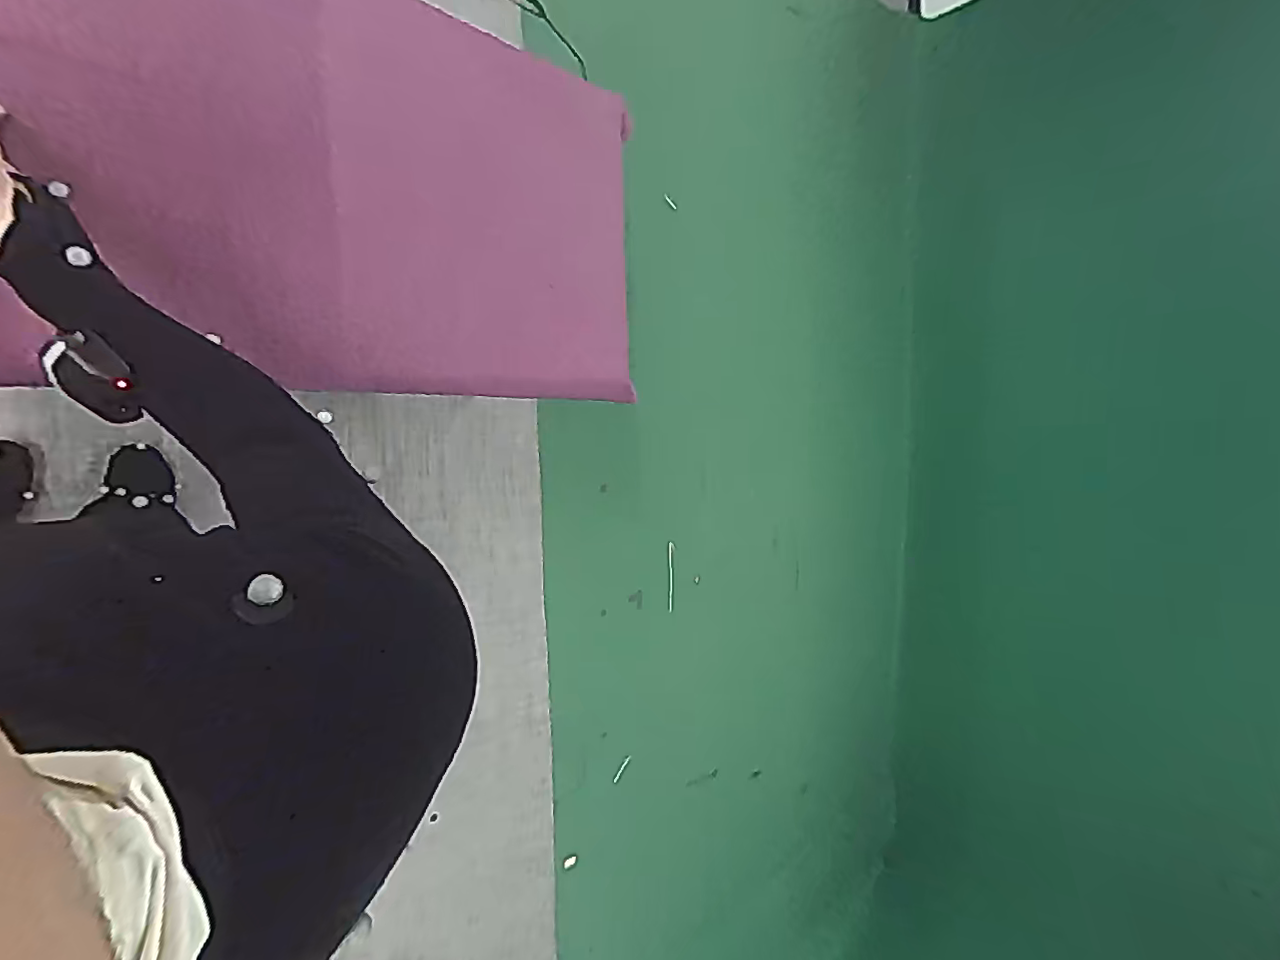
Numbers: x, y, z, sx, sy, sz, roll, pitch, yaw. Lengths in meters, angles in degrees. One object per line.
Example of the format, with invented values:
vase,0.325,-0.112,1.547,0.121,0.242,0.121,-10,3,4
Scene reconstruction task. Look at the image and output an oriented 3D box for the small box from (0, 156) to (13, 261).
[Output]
small box,-0.705,-0.314,0.480,0.168,0.176,0.179,-9,100,-41
